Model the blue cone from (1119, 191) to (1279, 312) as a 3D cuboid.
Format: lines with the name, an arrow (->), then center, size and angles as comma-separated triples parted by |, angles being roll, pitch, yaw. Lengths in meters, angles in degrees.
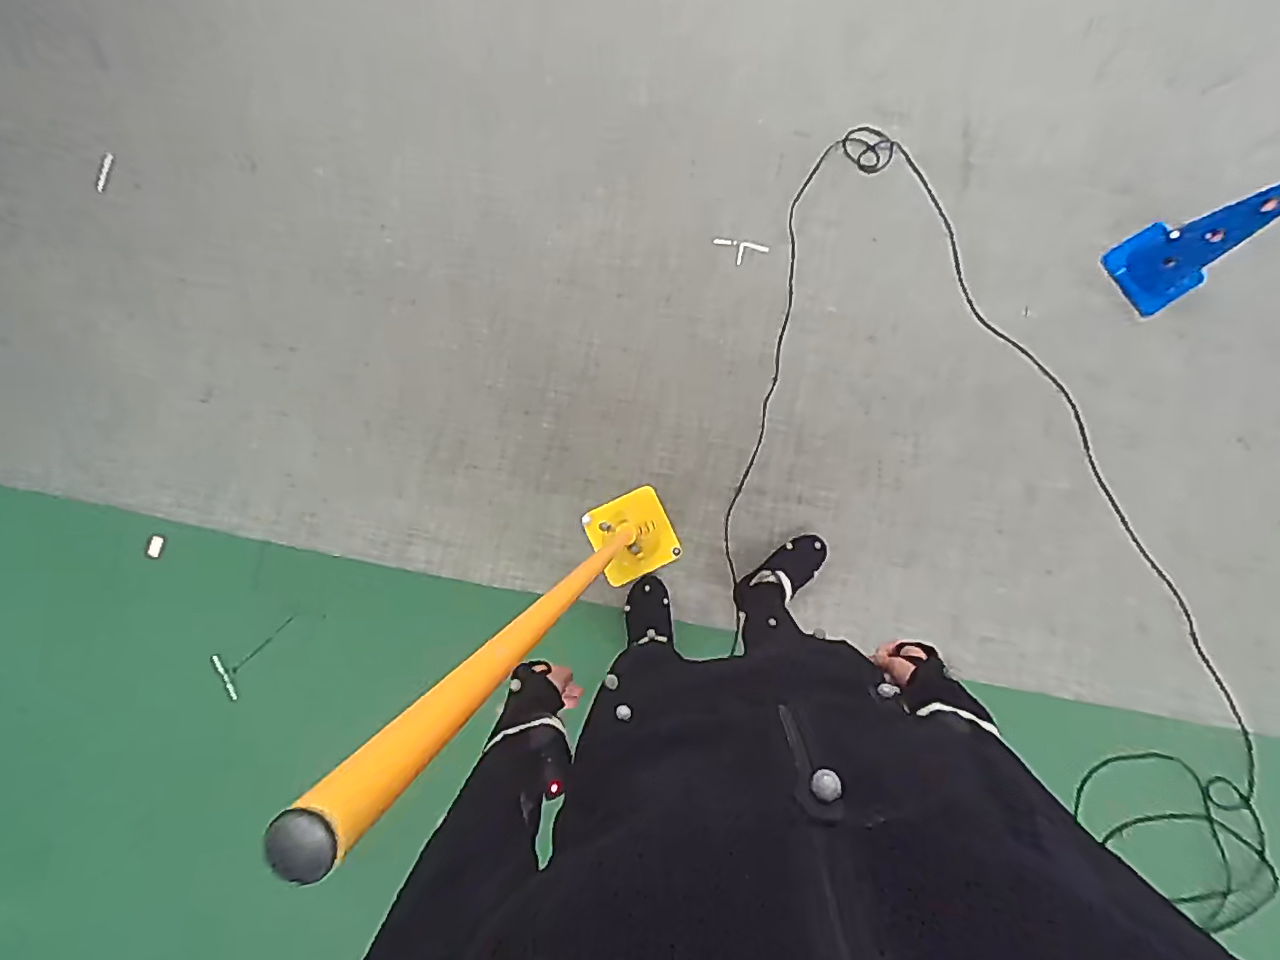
blue cone -> 1.332, -0.564, 1.209 | 0.193, 0.380, 0.192 | -34, 84, -4
